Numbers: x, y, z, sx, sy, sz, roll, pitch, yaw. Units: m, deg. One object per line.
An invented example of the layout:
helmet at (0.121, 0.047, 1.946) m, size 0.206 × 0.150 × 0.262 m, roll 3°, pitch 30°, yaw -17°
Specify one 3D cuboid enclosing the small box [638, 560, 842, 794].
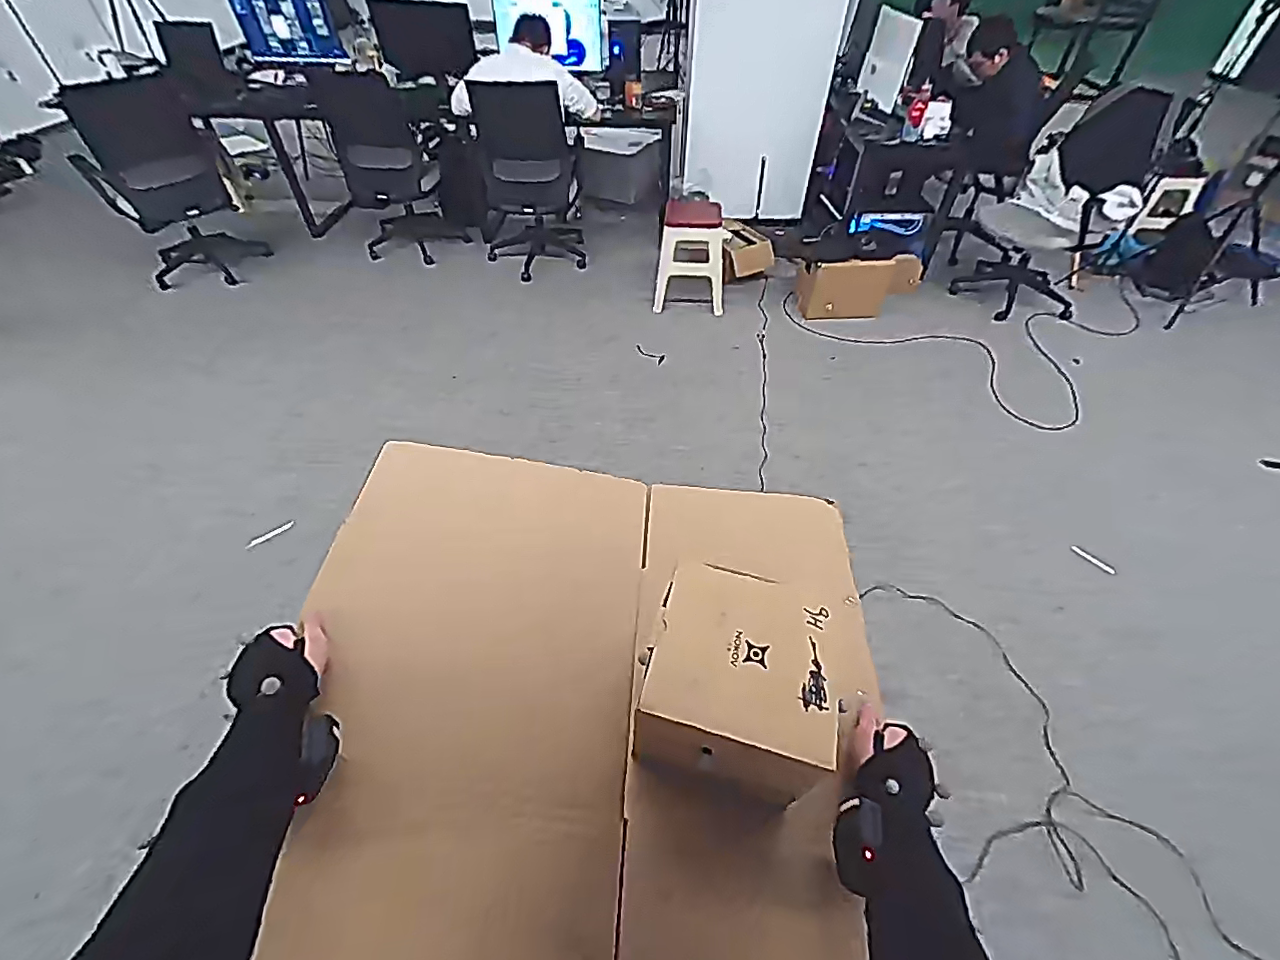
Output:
small box at (0.102, 0.215, 0.582) m, size 0.179 × 0.176 × 0.168 m, roll 13°, pitch 51°, yaw 10°
